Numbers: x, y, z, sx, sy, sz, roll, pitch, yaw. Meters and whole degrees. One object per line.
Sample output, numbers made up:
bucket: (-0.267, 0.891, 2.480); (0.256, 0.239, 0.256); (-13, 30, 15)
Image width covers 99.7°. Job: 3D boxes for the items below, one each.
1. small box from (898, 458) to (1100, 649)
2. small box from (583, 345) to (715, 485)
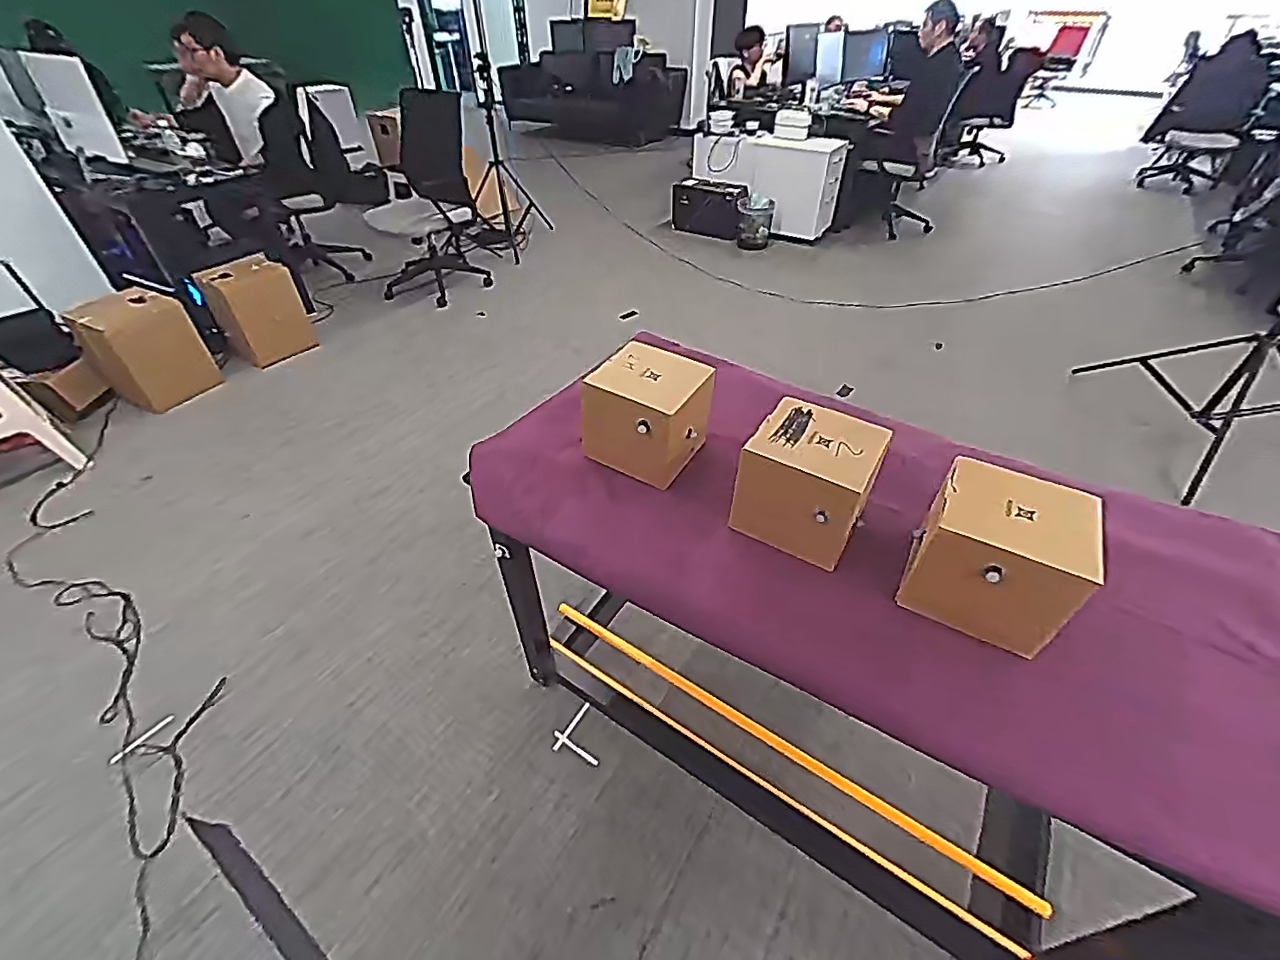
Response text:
small box: (0.485, 0.103, 0.745); (0.179, 0.176, 0.168); (22, 46, 24)
small box: (0.016, -0.115, 0.983); (0.179, 0.176, 0.168); (24, 47, 21)
